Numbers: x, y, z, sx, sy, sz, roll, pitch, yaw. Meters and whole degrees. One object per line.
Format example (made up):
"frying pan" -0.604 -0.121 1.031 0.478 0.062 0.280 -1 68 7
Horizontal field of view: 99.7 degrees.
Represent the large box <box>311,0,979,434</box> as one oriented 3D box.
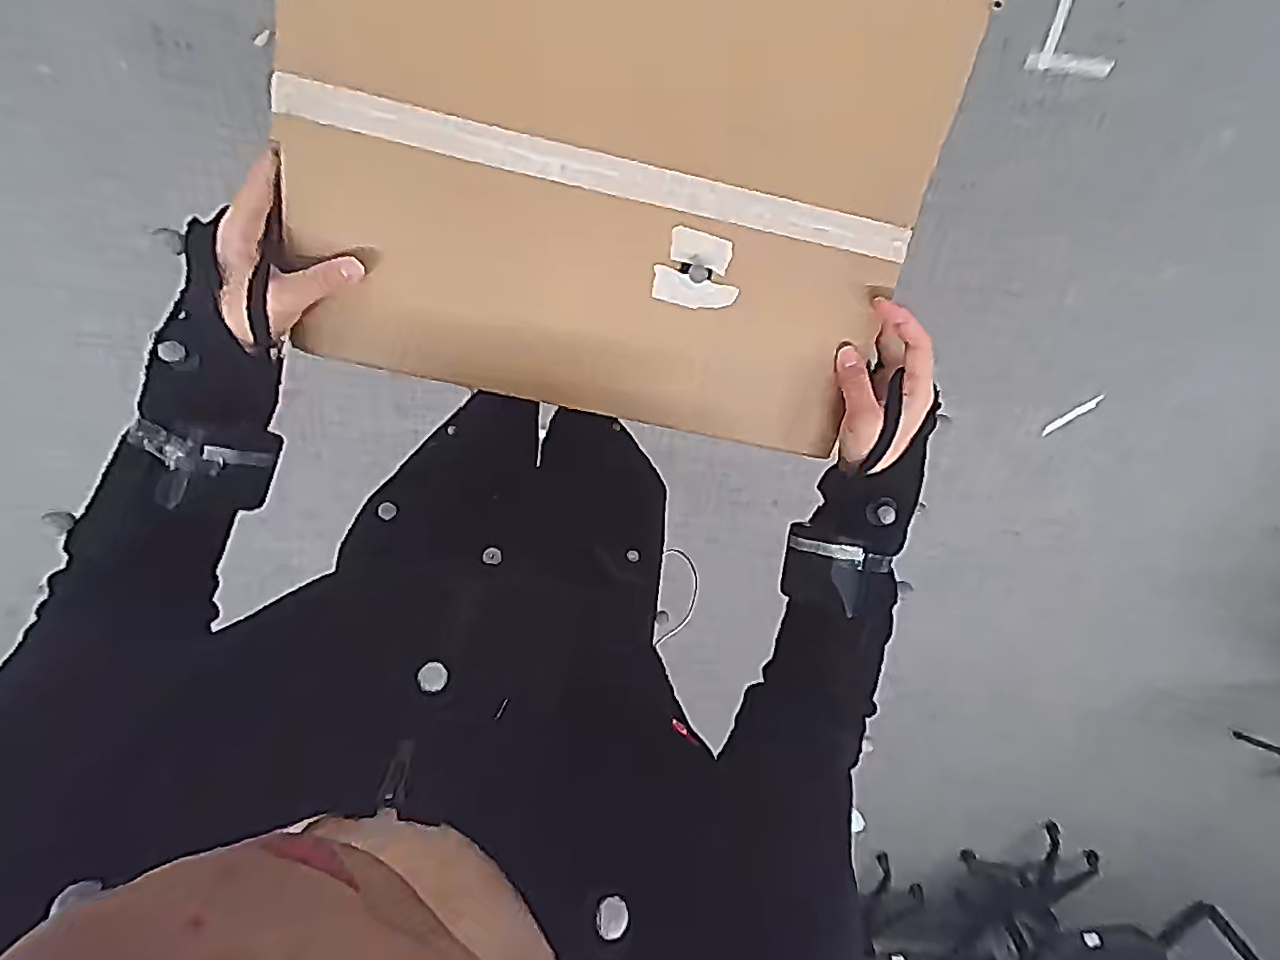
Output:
"large box" -0.019 -0.262 0.499 0.408 0.320 0.320 11 112 -7
